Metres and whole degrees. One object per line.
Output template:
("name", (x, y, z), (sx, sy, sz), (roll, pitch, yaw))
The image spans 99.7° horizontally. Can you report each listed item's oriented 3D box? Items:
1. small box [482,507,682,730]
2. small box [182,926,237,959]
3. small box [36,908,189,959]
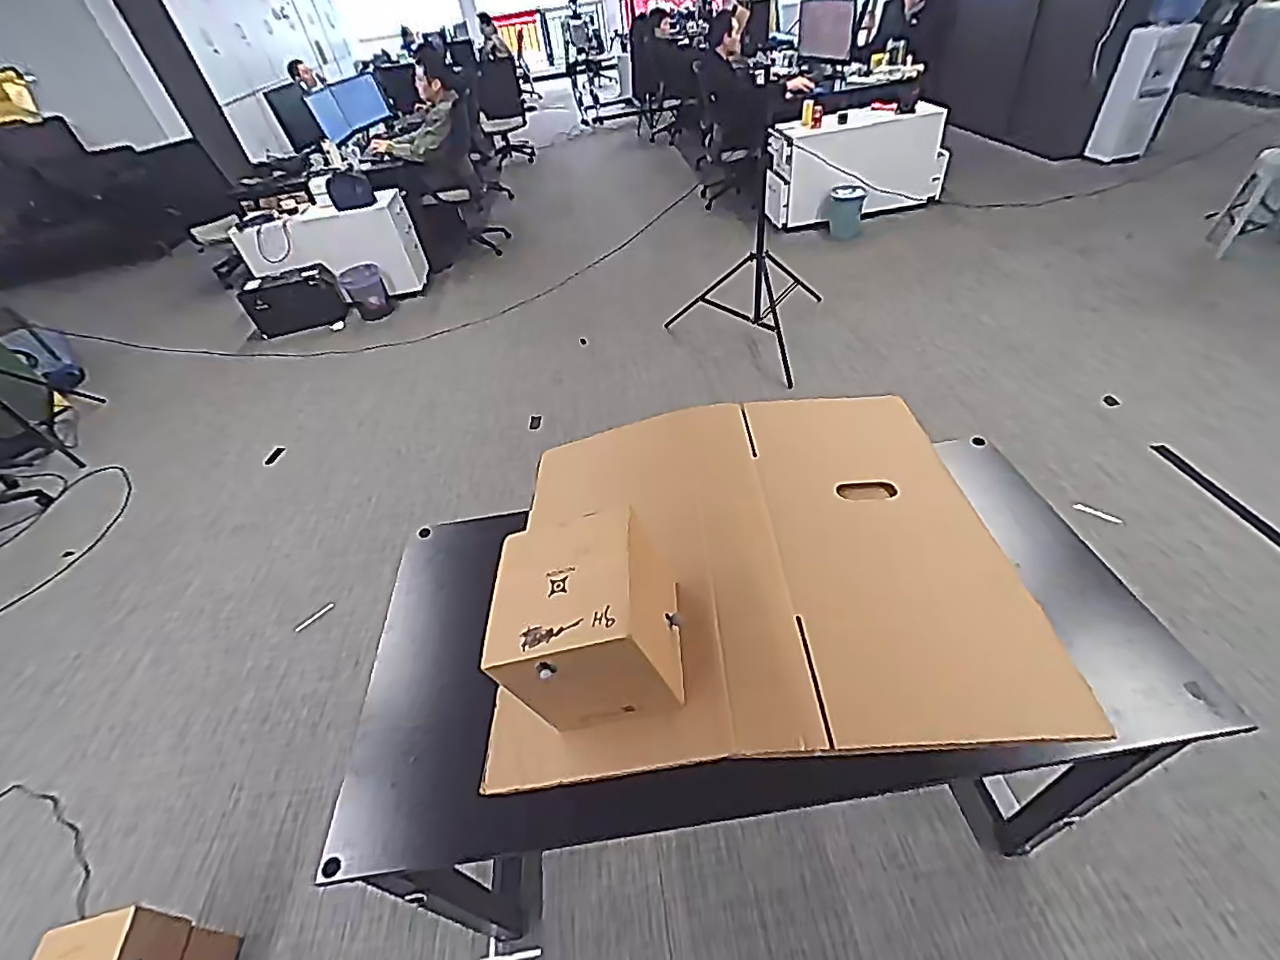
("small box", (-0.056, 0.165, 0.637), (0.168, 0.176, 0.179), (-17, 41, 14))
("small box", (-0.994, 1.076, 1.132), (0.168, 0.176, 0.179), (-12, 44, -3))
("small box", (-1.015, 0.955, 1.025), (0.168, 0.176, 0.179), (-14, 42, -6))
